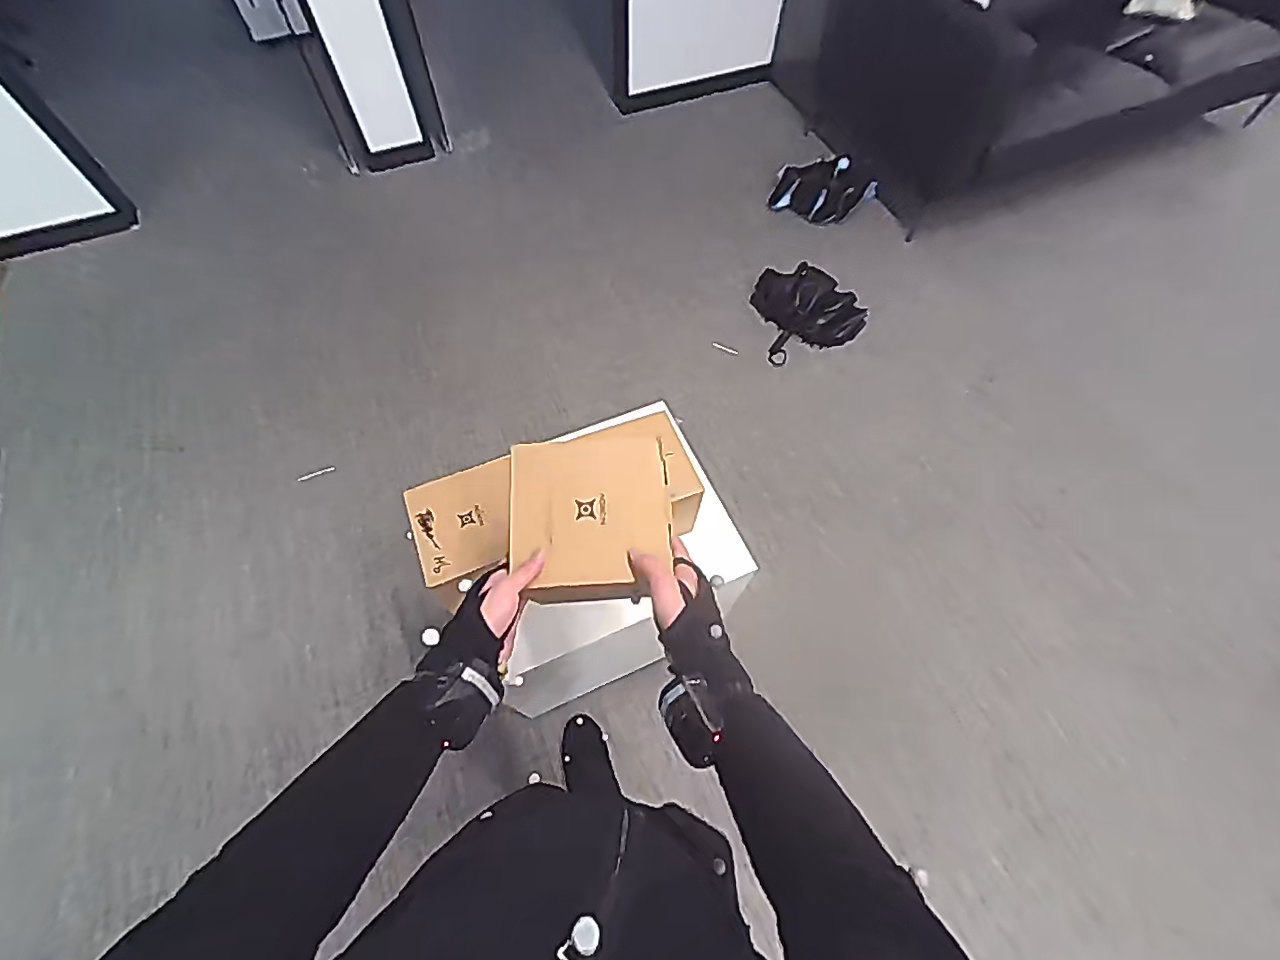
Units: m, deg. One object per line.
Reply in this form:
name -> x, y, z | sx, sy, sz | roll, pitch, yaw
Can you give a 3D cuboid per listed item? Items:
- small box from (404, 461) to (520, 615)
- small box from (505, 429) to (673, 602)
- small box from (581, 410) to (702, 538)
small box -> -0.253, 0.097, 0.873 | 0.179, 0.176, 0.168 | -20, 64, -13
small box -> -0.057, 0.052, 0.659 | 0.179, 0.176, 0.168 | -6, 71, 1
small box -> -0.012, 0.013, 0.924 | 0.179, 0.176, 0.168 | -19, 65, -12
